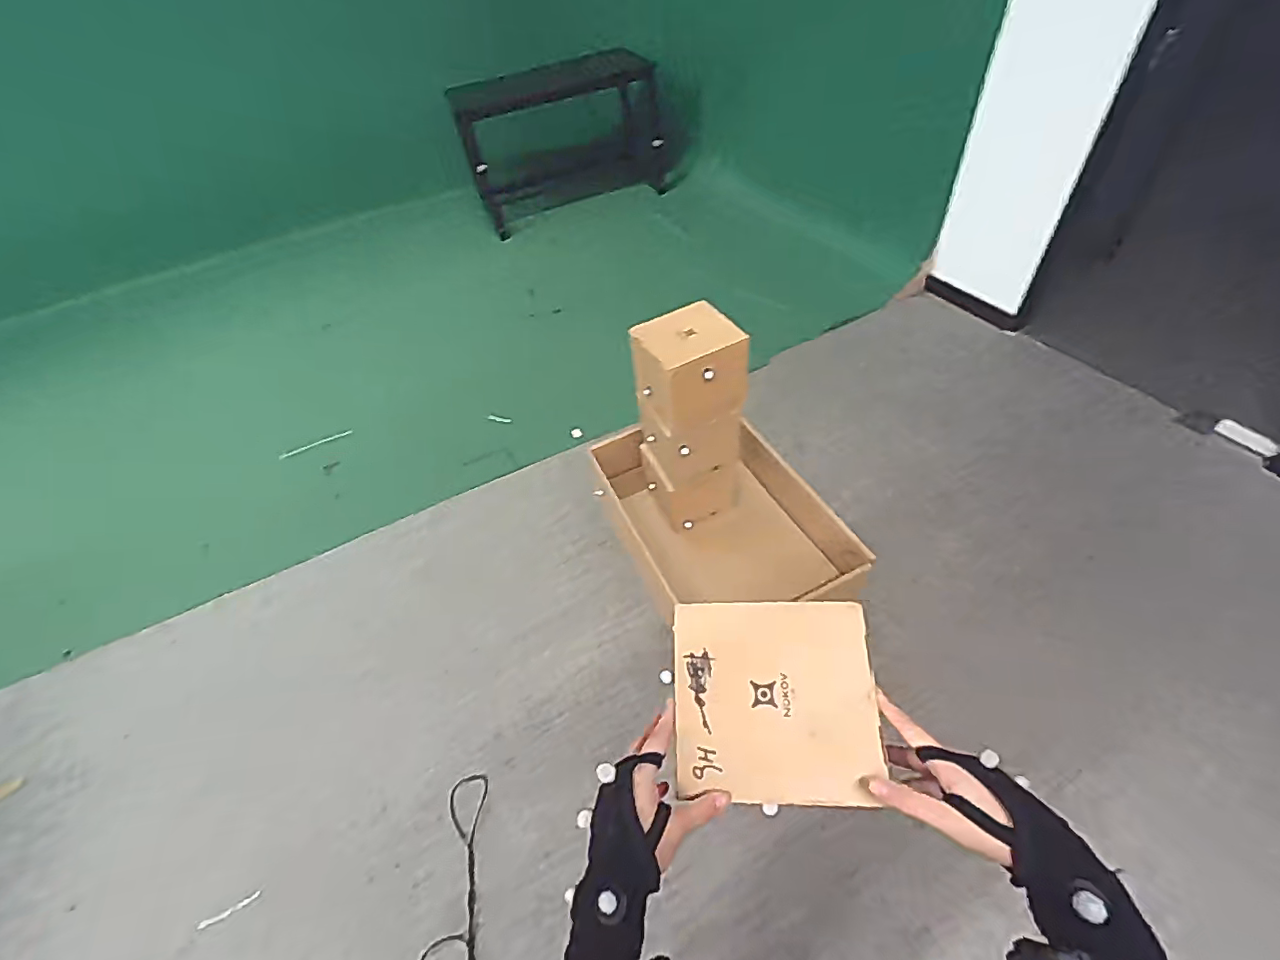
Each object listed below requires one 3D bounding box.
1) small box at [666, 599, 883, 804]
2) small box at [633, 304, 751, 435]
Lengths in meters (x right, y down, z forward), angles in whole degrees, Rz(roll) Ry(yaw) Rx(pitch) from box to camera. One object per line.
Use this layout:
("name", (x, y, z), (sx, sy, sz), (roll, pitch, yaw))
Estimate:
("small box", (0.116, 0.222, 0.542), (0.179, 0.176, 0.168), (-2, 61, 5))
("small box", (0.105, -0.223, 1.098), (0.179, 0.176, 0.168), (-25, 49, -12))
